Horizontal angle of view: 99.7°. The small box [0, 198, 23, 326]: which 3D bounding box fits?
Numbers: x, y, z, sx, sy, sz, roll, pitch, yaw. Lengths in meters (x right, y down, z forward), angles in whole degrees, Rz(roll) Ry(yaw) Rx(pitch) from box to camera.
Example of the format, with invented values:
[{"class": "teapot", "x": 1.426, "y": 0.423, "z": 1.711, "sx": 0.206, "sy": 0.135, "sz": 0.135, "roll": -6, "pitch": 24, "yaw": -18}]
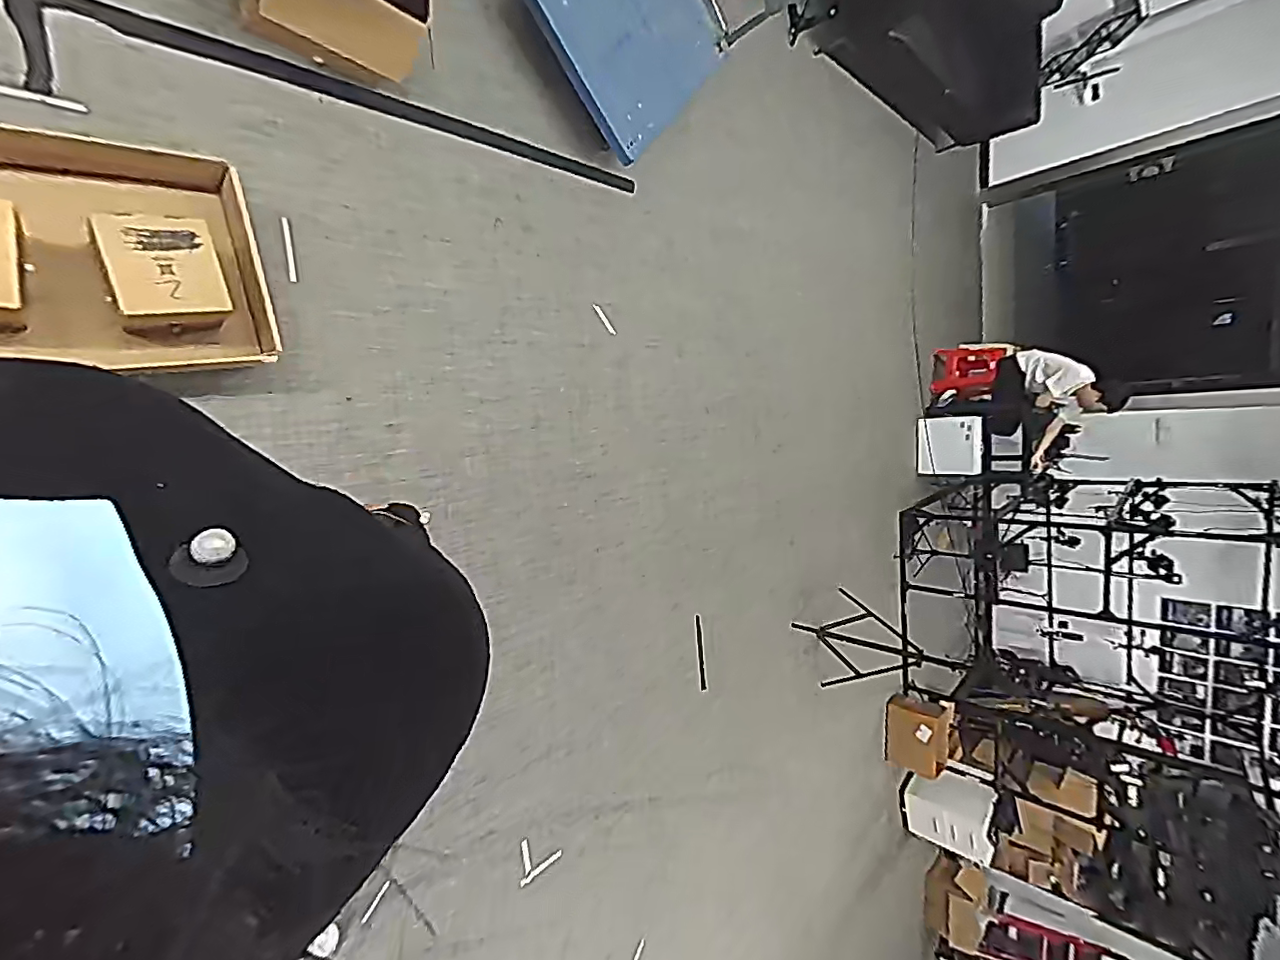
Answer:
[{"class": "small box", "x": -1.120, "y": -0.361, "z": 0.866, "sx": 0.168, "sy": 0.176, "sz": 0.179, "roll": -3, "pitch": 94, "yaw": -46}]
